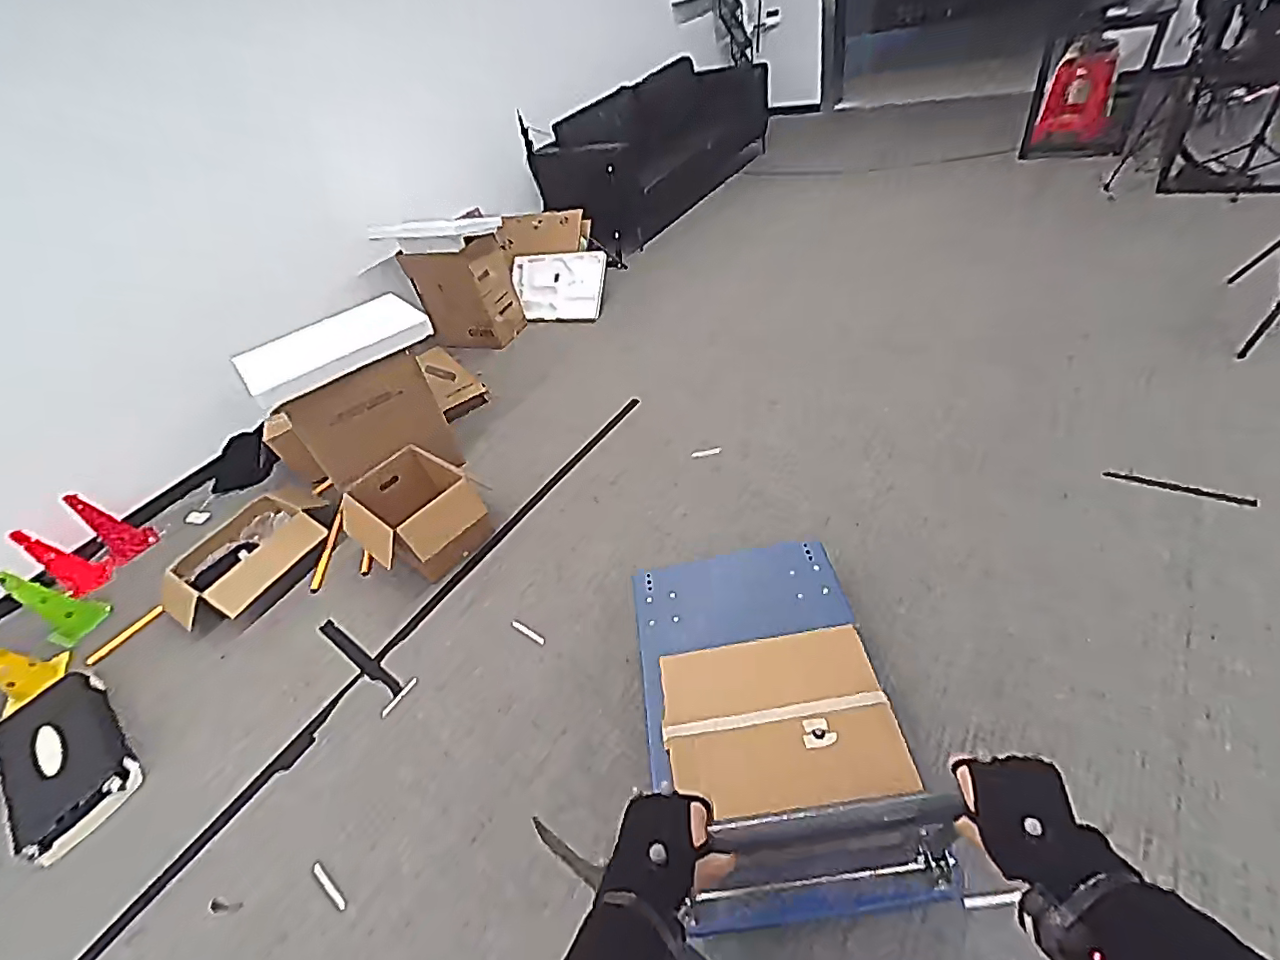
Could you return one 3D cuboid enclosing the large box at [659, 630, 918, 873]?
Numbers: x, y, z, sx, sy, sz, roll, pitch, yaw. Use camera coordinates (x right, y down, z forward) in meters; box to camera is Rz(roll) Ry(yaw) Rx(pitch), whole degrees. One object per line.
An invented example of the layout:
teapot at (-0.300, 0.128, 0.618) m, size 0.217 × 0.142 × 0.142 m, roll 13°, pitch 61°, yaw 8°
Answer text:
large box at (0.271, 0.551, 1.093) m, size 0.408 × 0.320 × 0.320 m, roll -11°, pitch 43°, yaw 4°
